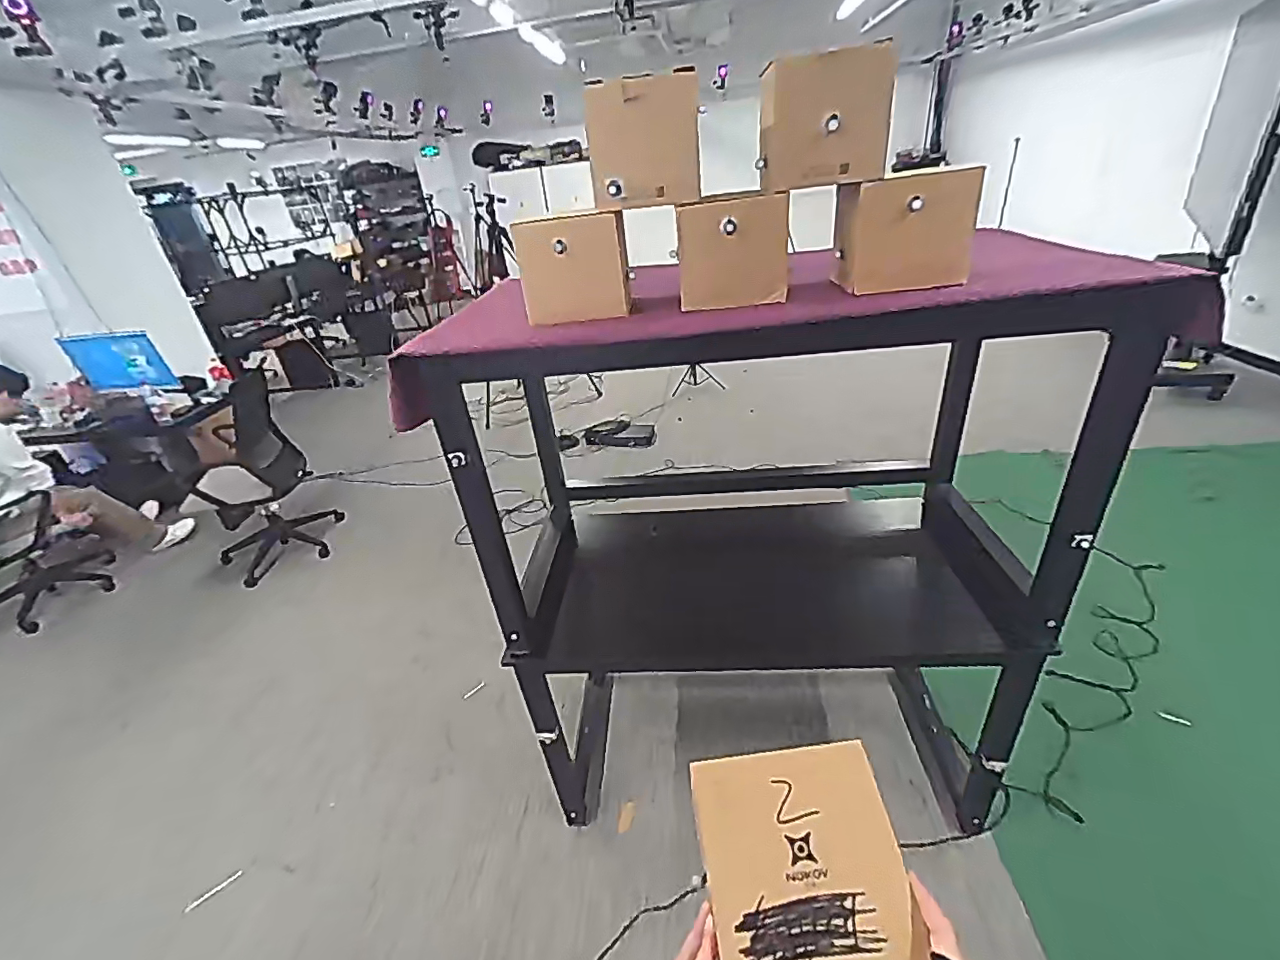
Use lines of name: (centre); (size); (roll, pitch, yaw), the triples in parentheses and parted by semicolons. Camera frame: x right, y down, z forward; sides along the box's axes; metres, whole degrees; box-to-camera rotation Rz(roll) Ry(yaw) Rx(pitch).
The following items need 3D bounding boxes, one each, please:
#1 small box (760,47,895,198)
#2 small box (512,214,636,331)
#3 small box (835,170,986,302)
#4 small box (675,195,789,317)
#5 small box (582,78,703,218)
small box: (0.280, -0.541, 0.841); (0.168, 0.176, 0.179); (-4, 30, 7)
small box: (-0.108, -0.373, 0.972); (0.179, 0.176, 0.168); (-4, 30, 6)
small box: (0.432, -0.404, 0.896); (0.179, 0.176, 0.168); (-5, 29, 8)
small box: (0.157, -0.384, 0.929); (0.179, 0.176, 0.168); (-3, 30, 8)
small box: (0.015, -0.526, 0.878); (0.168, 0.176, 0.179); (-2, 29, 9)
